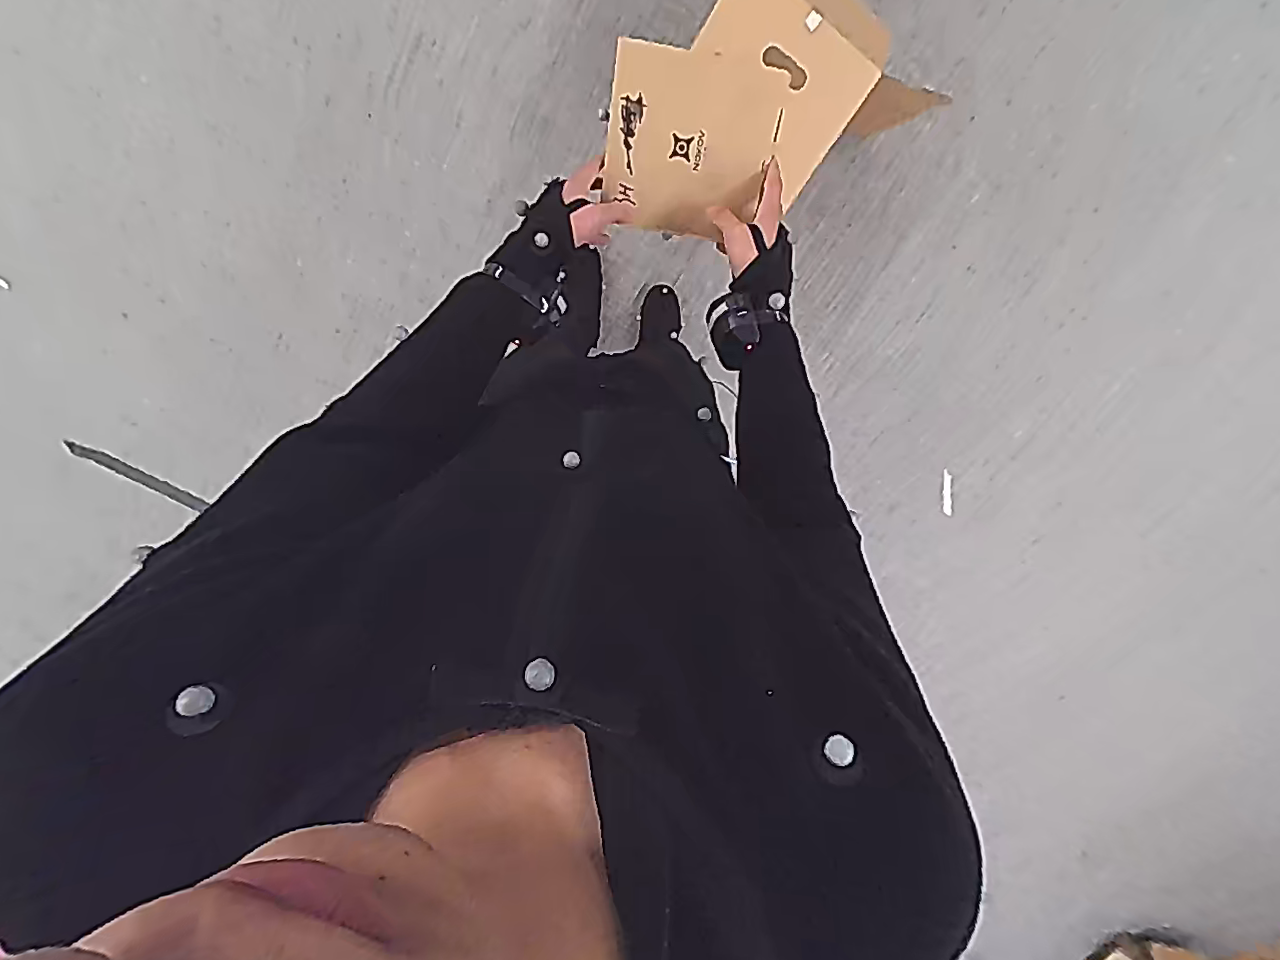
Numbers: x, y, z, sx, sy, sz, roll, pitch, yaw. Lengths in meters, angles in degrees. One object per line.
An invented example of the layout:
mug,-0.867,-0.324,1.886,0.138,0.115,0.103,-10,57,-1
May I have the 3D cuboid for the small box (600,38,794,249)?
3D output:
small box,0.053,-0.382,0.629,0.179,0.176,0.168,8,120,-5
